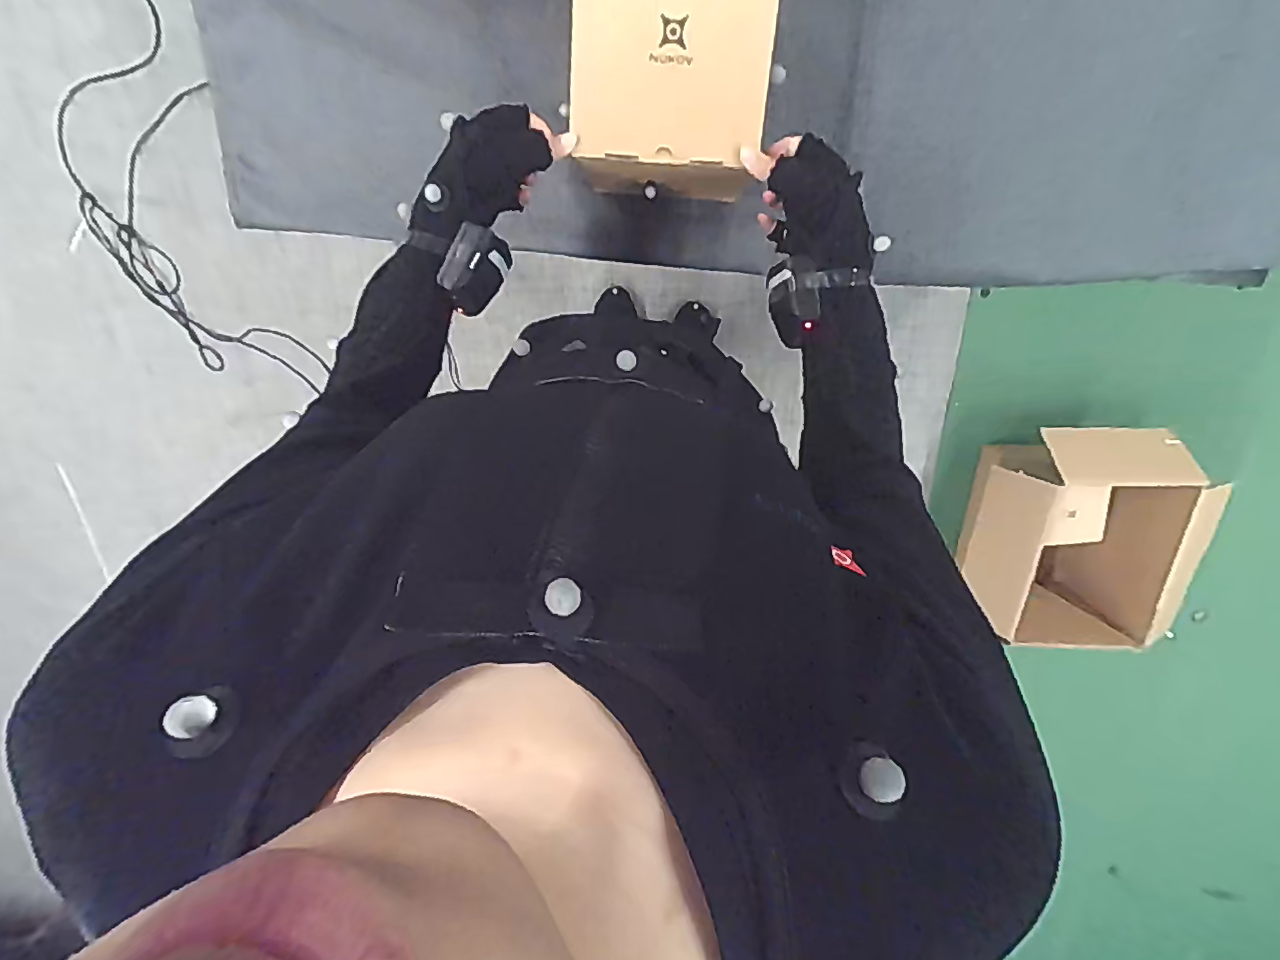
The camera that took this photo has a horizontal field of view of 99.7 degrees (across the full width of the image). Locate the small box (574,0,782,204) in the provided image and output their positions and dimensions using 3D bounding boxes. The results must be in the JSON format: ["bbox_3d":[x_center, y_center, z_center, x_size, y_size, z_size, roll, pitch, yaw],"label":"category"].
[{"bbox_3d":[0.033,-0.381,0.520,0.168,0.176,0.179,5,109,1],"label":"small box"}]
